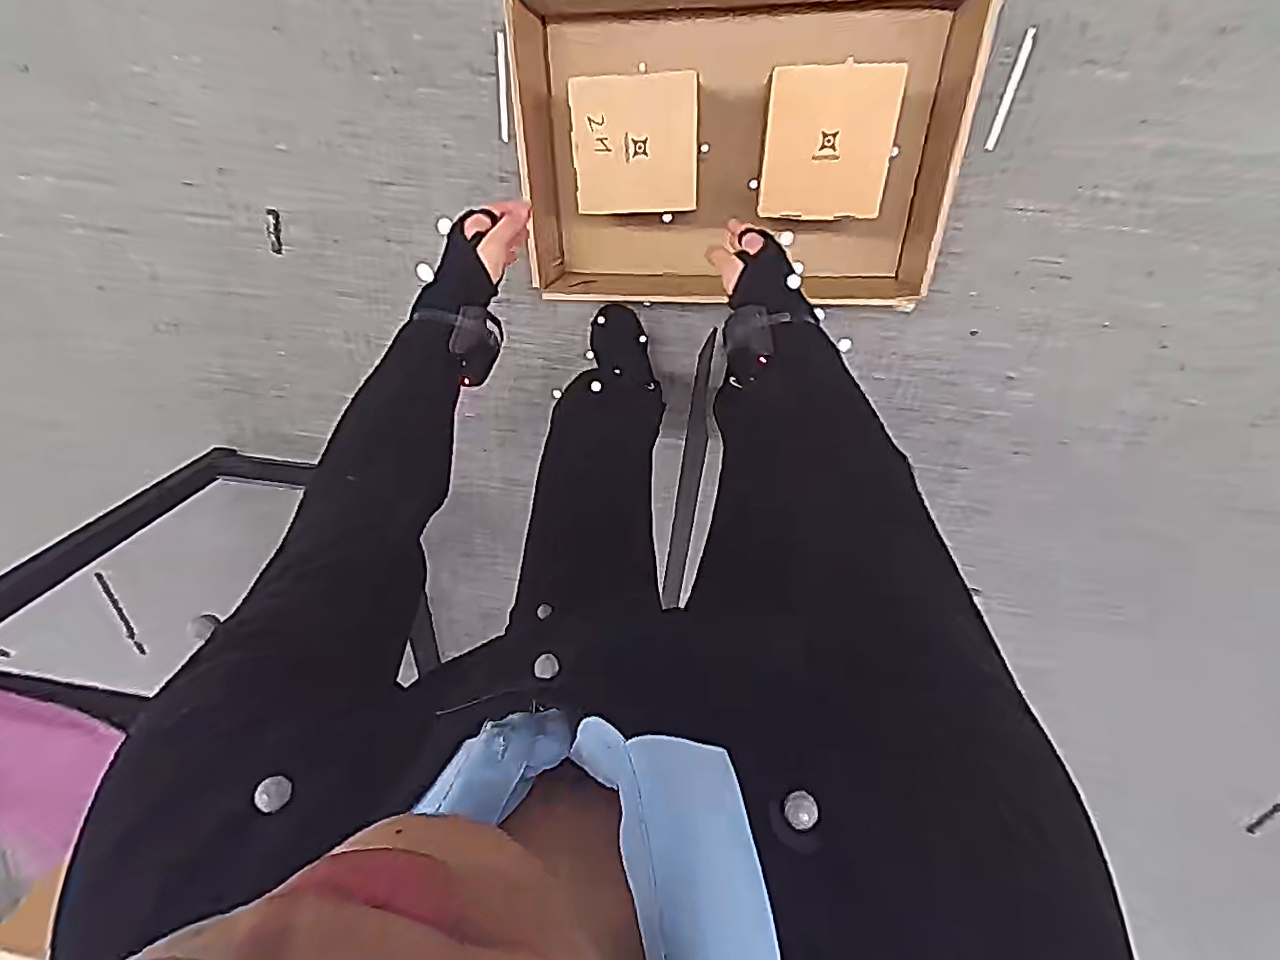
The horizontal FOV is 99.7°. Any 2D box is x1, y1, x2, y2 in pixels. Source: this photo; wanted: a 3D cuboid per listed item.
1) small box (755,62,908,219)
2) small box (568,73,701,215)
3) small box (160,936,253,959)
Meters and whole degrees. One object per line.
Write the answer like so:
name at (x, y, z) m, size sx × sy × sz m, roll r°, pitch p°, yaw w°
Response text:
small box at (0.259, -0.482, 0.781) m, size 0.168 × 0.176 × 0.179 m, roll 4°, pitch 122°, yaw 7°
small box at (0.001, -0.498, 0.809) m, size 0.179 × 0.176 × 0.168 m, roll 2°, pitch 121°, yaw 7°
small box at (-0.959, 1.120, 1.160) m, size 0.179 × 0.176 × 0.168 m, roll 8°, pitch 122°, yaw 5°
